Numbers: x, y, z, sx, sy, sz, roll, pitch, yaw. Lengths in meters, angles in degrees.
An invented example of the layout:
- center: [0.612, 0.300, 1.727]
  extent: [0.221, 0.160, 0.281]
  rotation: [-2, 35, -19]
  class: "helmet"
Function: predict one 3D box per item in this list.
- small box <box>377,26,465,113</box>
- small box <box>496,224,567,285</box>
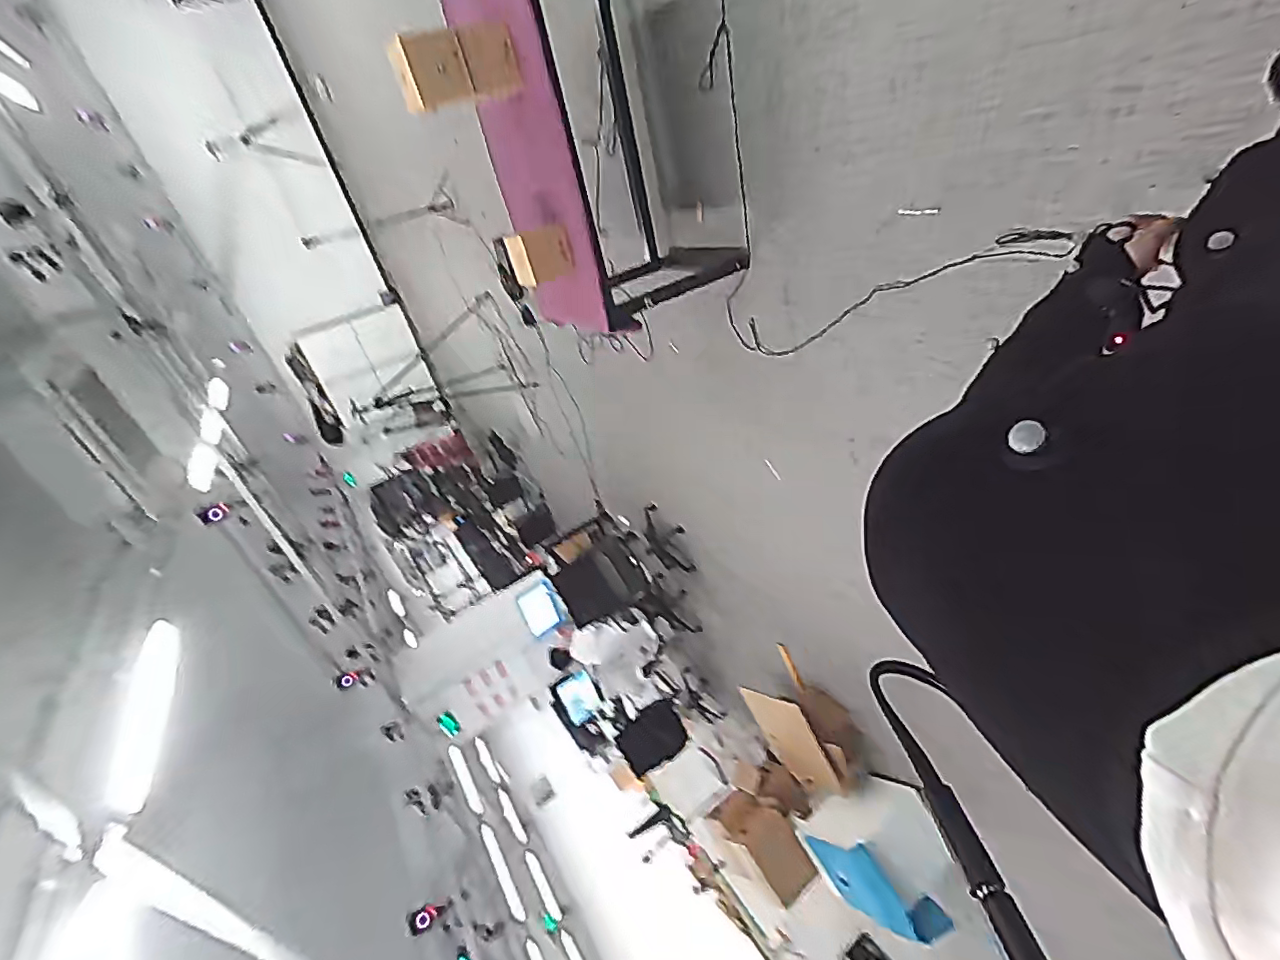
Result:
- center: [-0.636, -1.202, 1.587]
  extent: [0.179, 0.176, 0.168]
  rotation: [32, 144, 49]
  class: "small box"
- center: [-0.389, -0.815, 1.949]
  extent: [0.179, 0.176, 0.168]
  rotation: [31, 143, 50]
  class: "small box"
